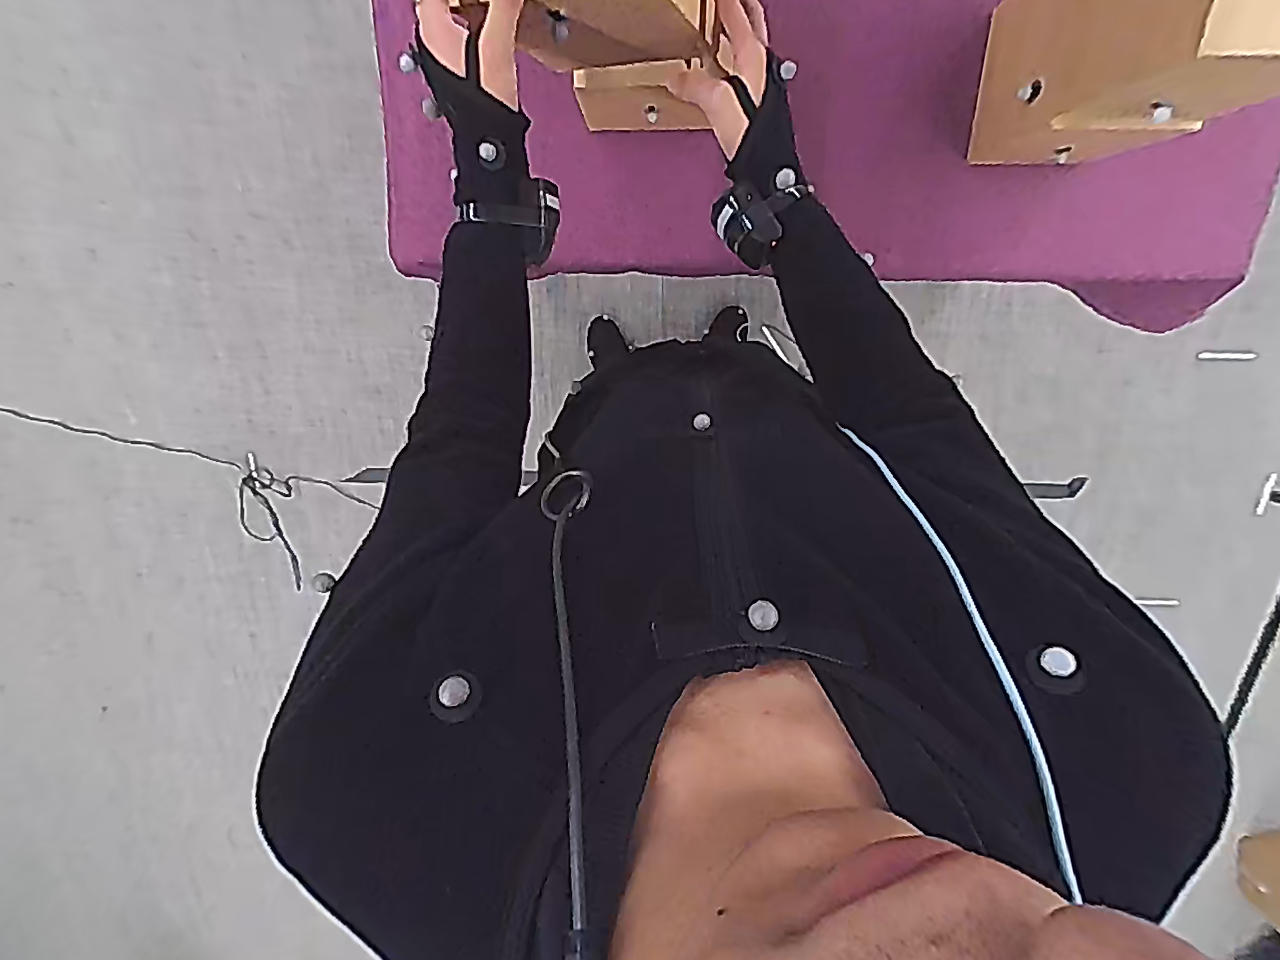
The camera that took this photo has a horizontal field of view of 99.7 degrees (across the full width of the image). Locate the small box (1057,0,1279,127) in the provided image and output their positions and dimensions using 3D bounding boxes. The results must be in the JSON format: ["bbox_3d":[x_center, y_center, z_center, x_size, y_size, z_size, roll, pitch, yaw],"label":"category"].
[{"bbox_3d":[0.528,-0.446,0.487,0.168,0.176,0.179,2,110,1],"label":"small box"}]

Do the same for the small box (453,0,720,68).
[{"bbox_3d":[-0.031,-0.451,0.426,0.179,0.176,0.168,11,115,20],"label":"small box"}]

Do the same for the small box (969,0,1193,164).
[{"bbox_3d":[0.529,-0.491,0.645,0.168,0.176,0.179,1,109,0],"label":"small box"}]
